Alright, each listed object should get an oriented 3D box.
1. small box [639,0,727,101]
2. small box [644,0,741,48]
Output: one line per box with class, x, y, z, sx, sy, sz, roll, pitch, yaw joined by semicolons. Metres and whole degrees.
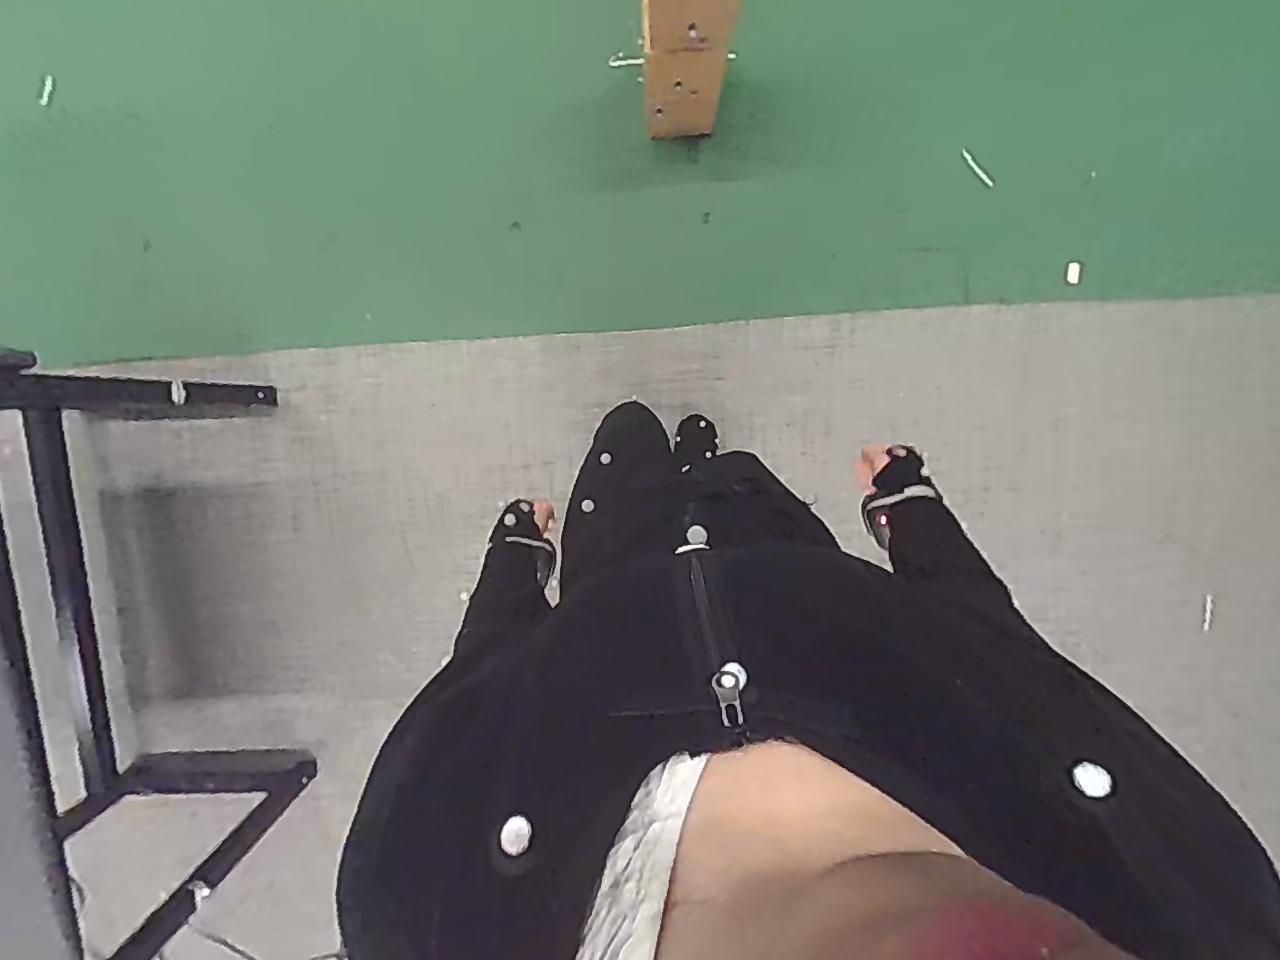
small box;0.083;-0.929;1.121;0.168;0.176;0.179;-4;97;0
small box;0.090;-0.914;0.956;0.168;0.176;0.179;-2;97;0
